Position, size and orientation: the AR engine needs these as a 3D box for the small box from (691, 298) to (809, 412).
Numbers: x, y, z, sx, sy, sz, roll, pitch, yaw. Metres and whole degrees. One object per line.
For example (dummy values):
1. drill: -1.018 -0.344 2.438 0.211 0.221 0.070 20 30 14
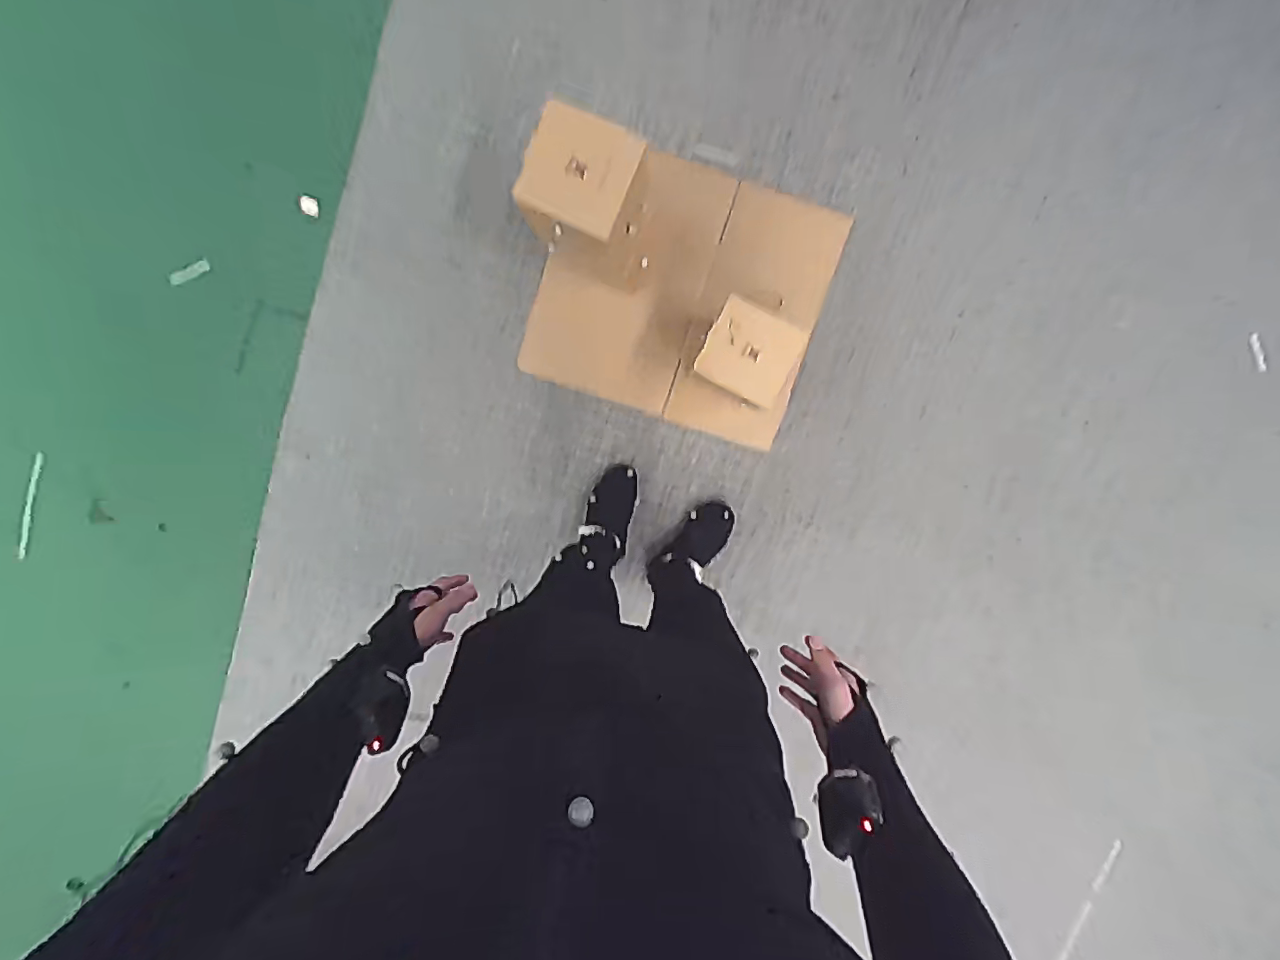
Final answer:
1. small box: 0.221 -0.255 1.134 0.179 0.176 0.168 28 97 1

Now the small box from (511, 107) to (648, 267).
1. small box: -0.097 -0.503 0.958 0.179 0.176 0.168 25 98 0
